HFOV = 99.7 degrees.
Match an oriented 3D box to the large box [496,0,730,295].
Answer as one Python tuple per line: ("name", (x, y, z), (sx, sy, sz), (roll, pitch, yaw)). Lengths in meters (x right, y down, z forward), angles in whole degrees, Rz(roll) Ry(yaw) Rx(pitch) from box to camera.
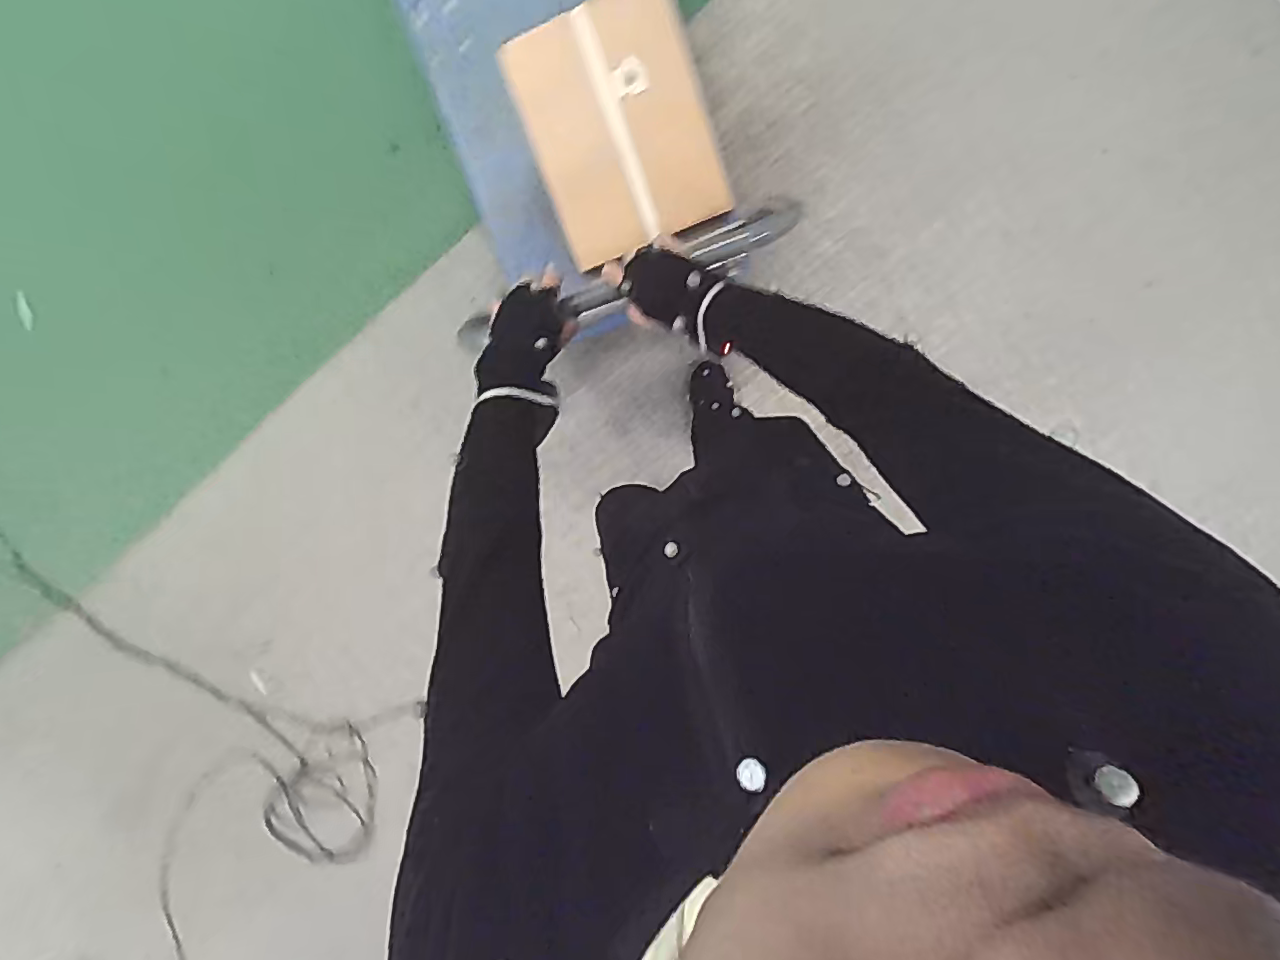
("large box", (-0.035, -0.652, 1.130), (0.320, 0.320, 0.408), (-21, 101, 7))
